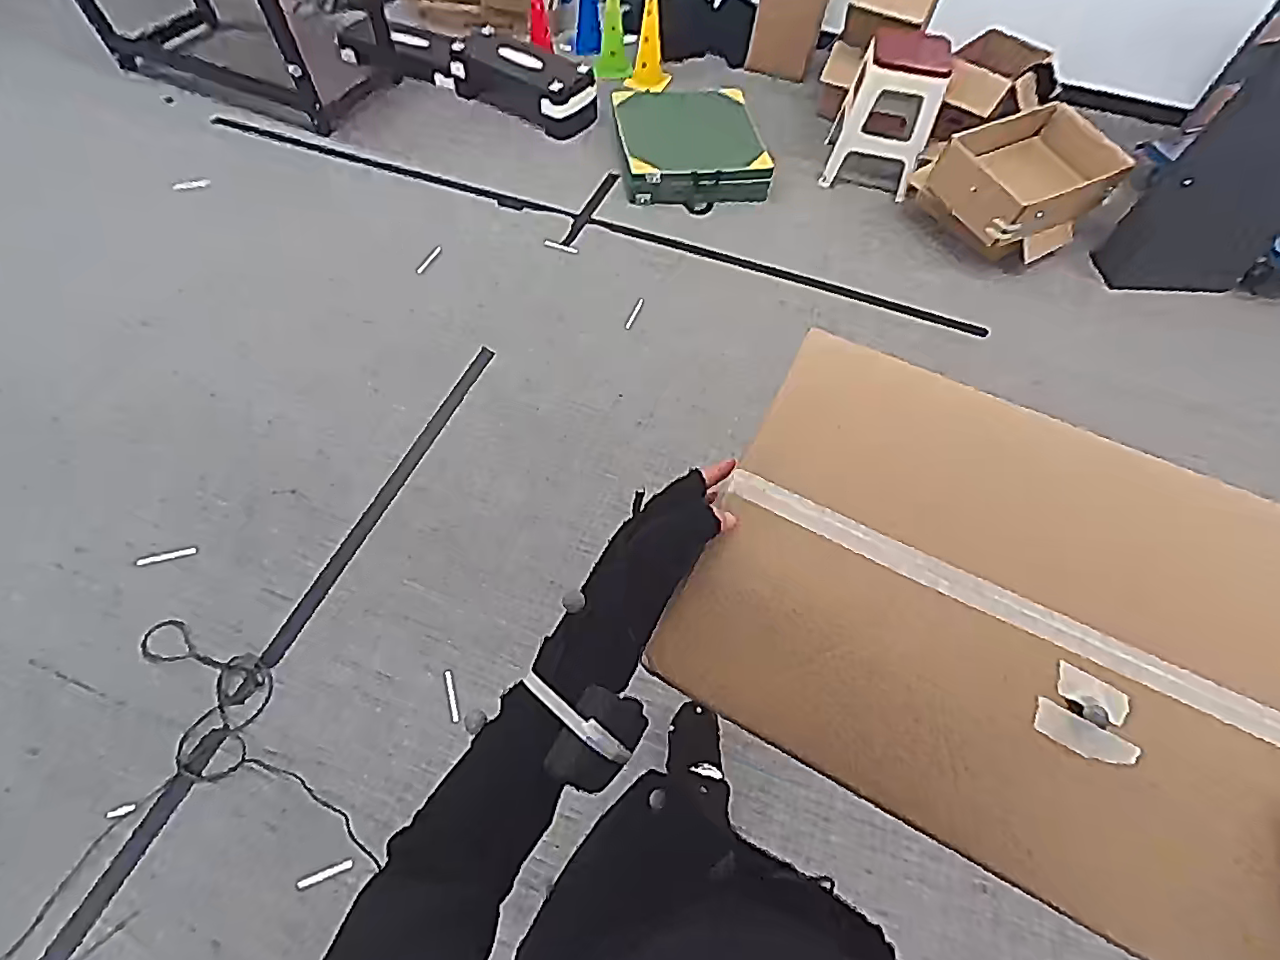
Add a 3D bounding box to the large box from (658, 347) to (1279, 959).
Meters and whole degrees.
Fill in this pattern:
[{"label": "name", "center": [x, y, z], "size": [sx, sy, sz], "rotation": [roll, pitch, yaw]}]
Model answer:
[{"label": "large box", "center": [0.265, 0.139, 0.532], "size": [0.408, 0.320, 0.320], "rotation": [26, 75, 14]}]
